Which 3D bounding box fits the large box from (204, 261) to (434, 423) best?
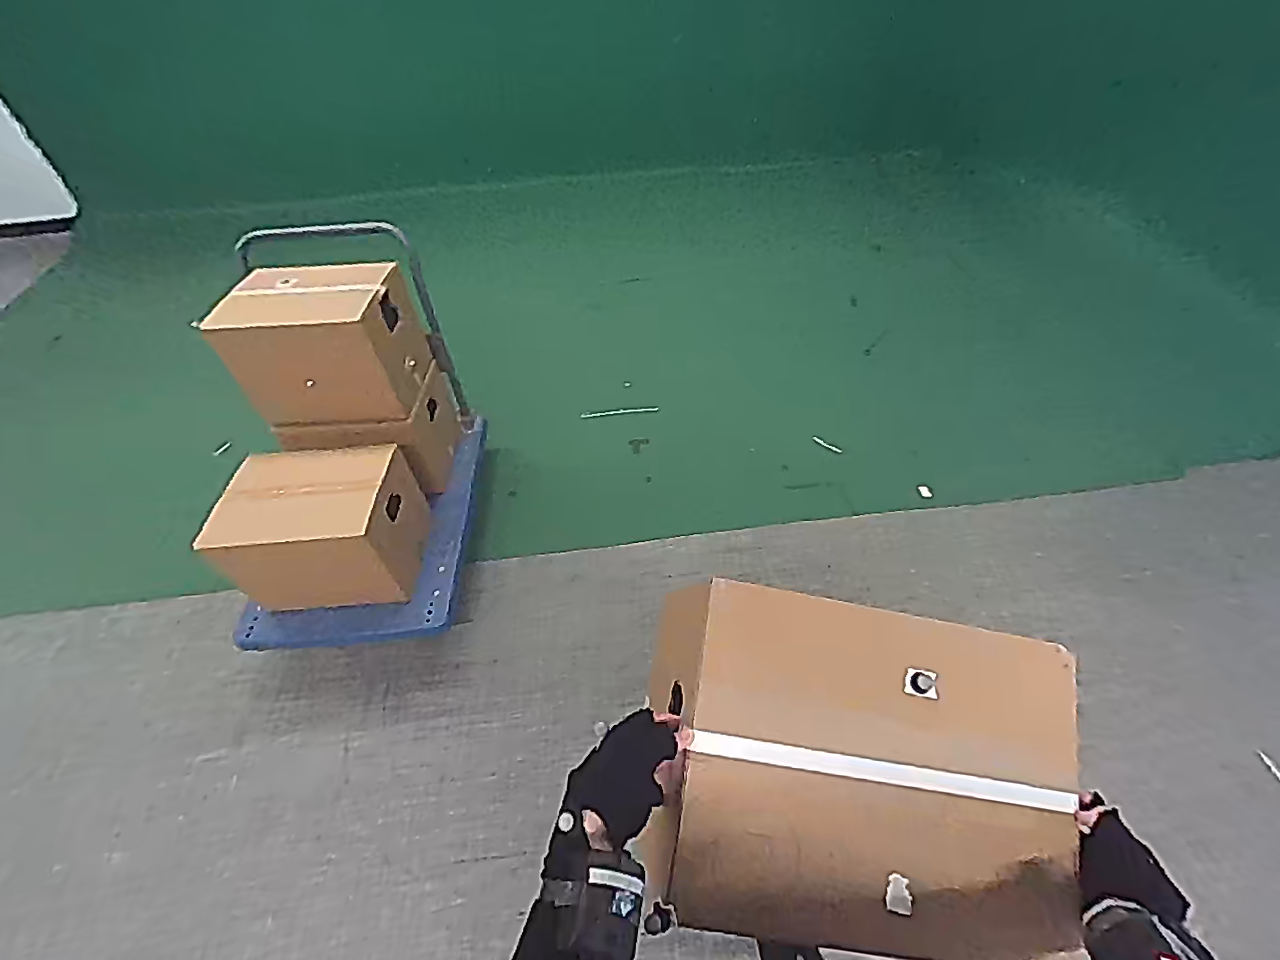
[{"bbox_3d":[-0.848,-0.380,1.504,0.408,0.320,0.320,-3,47,3],"label":"large box"}]
